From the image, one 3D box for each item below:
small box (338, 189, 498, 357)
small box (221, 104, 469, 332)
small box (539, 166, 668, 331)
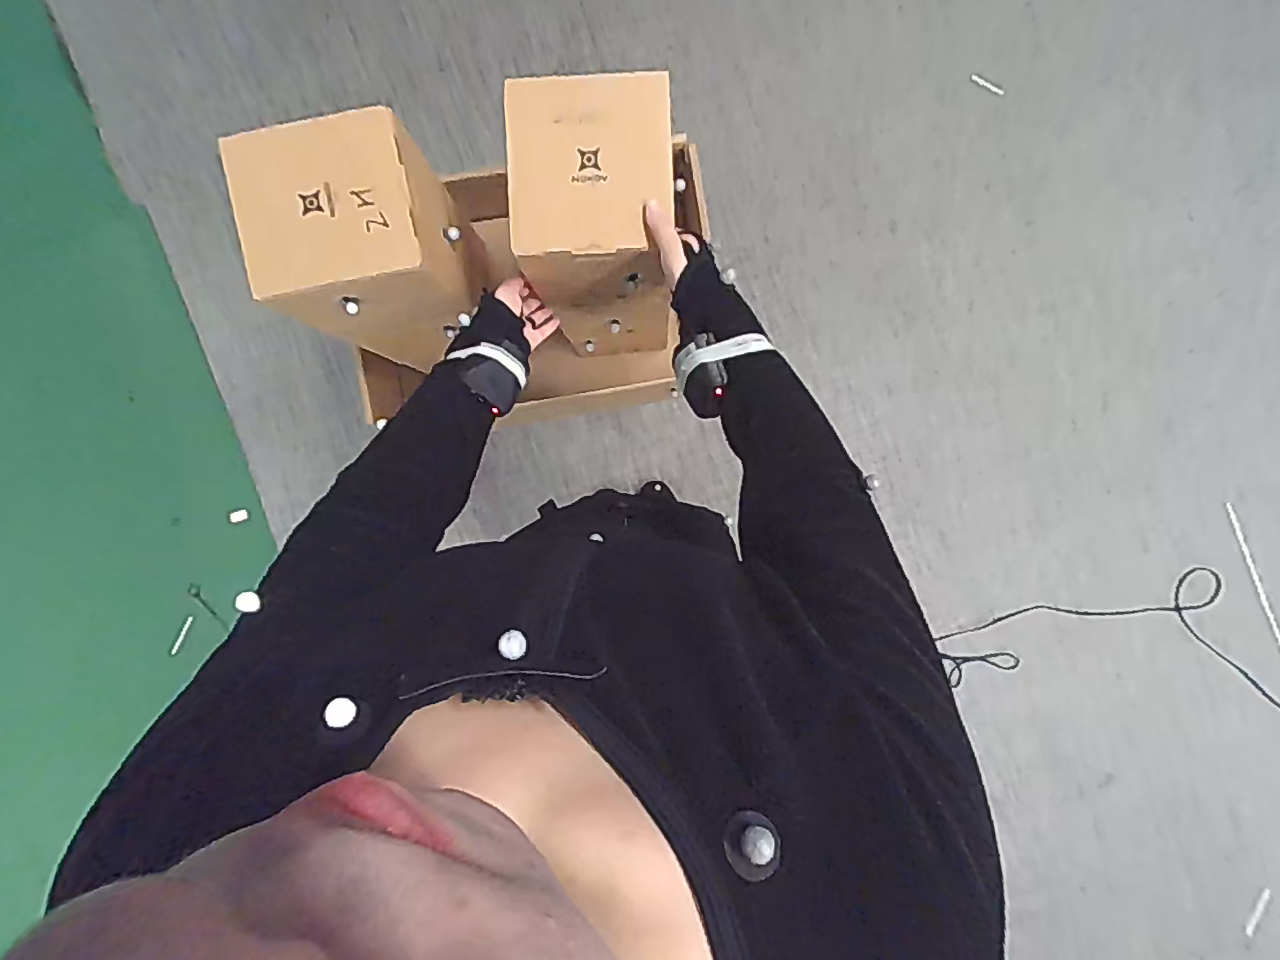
[{"bbox_3d":[-0.322,-0.285,0.783,0.179,0.176,0.168,-10,91,-1],"label":"small box"},{"bbox_3d":[-0.318,-0.280,0.617,0.179,0.176,0.168,-11,92,-1],"label":"small box"},{"bbox_3d":[-0.045,-0.319,0.780,0.168,0.176,0.179,-3,92,0],"label":"small box"}]
